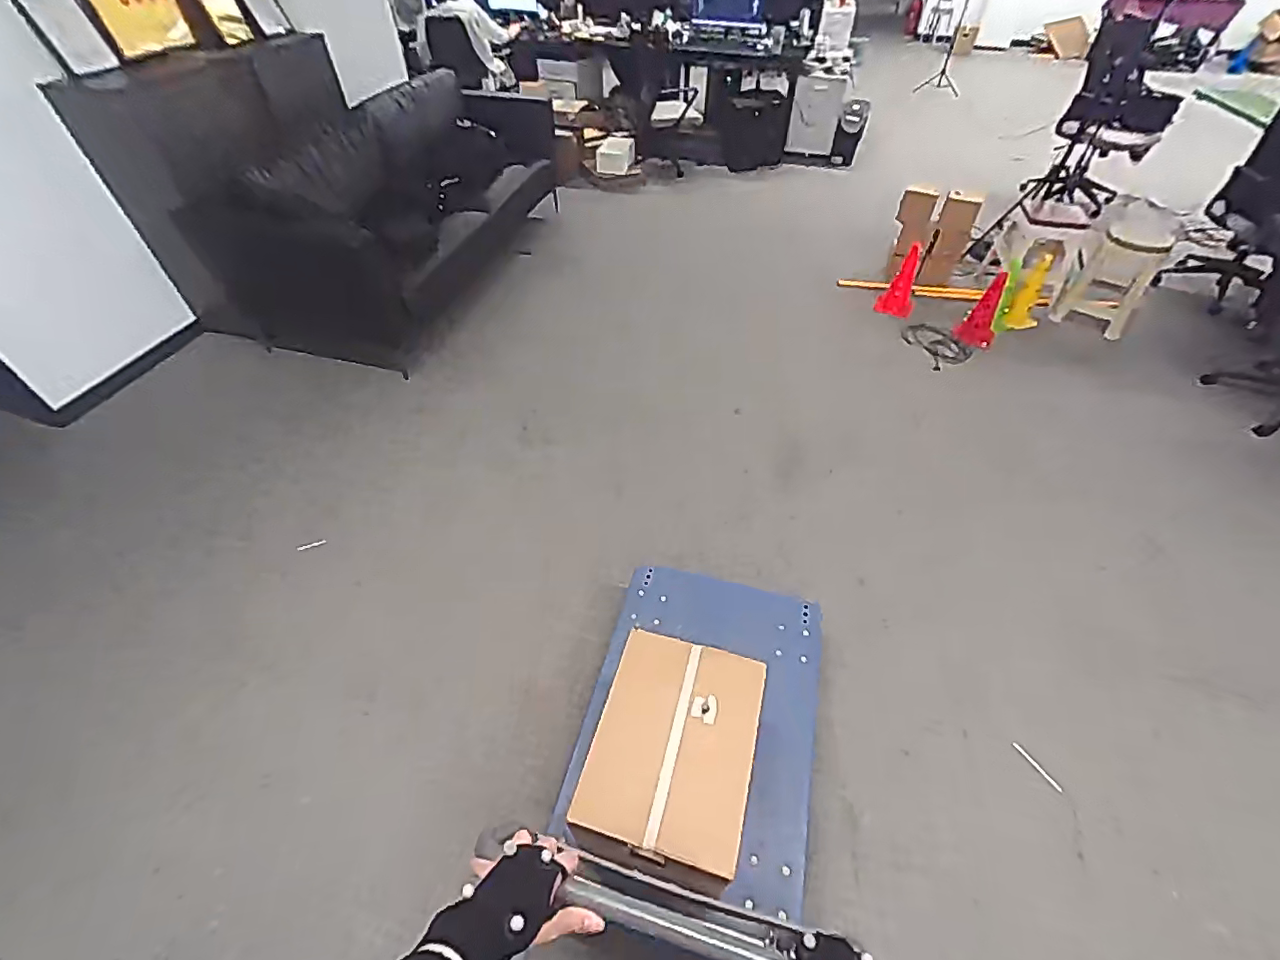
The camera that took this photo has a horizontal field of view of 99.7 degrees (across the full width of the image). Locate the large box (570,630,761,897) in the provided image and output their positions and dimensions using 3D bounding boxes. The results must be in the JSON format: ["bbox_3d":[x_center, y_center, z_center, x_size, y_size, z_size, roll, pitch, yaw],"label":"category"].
[{"bbox_3d":[0.070,0.616,1.195,0.320,0.320,0.408,12,47,11],"label":"large box"}]
